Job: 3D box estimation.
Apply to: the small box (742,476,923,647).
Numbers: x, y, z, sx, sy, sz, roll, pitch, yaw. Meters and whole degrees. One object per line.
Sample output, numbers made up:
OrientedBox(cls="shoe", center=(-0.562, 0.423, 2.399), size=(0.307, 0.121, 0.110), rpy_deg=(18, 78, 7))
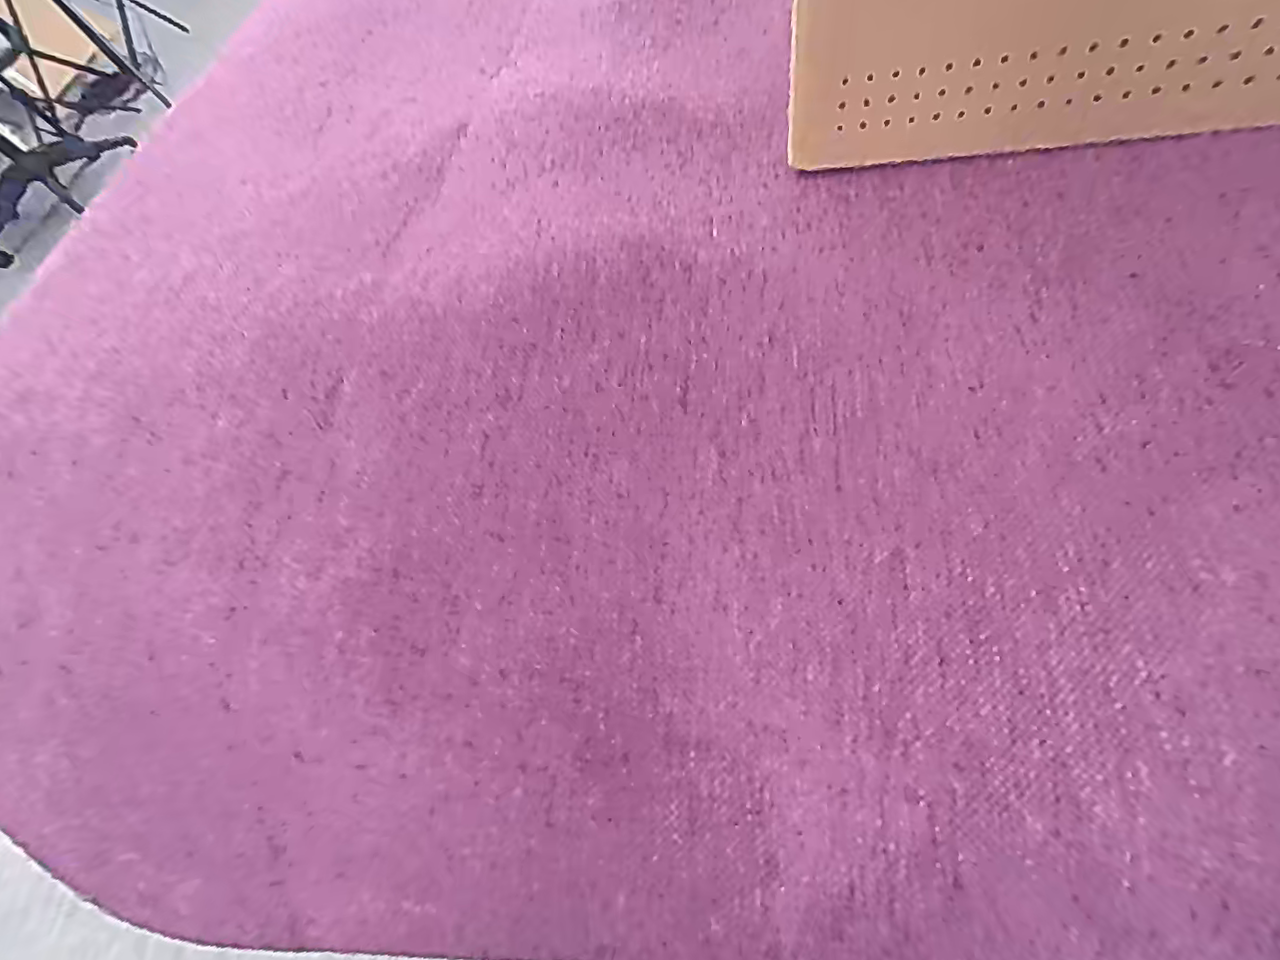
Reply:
OrientedBox(cls="small box", center=(0.215, 0.104, 0.650), size=(0.179, 0.176, 0.168), rpy_deg=(-3, 66, 13))

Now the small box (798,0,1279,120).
OrientedBox(cls="small box", center=(0.129, -0.210, 0.116), size=(0.179, 0.176, 0.168), rpy_deg=(3, 65, 14))
